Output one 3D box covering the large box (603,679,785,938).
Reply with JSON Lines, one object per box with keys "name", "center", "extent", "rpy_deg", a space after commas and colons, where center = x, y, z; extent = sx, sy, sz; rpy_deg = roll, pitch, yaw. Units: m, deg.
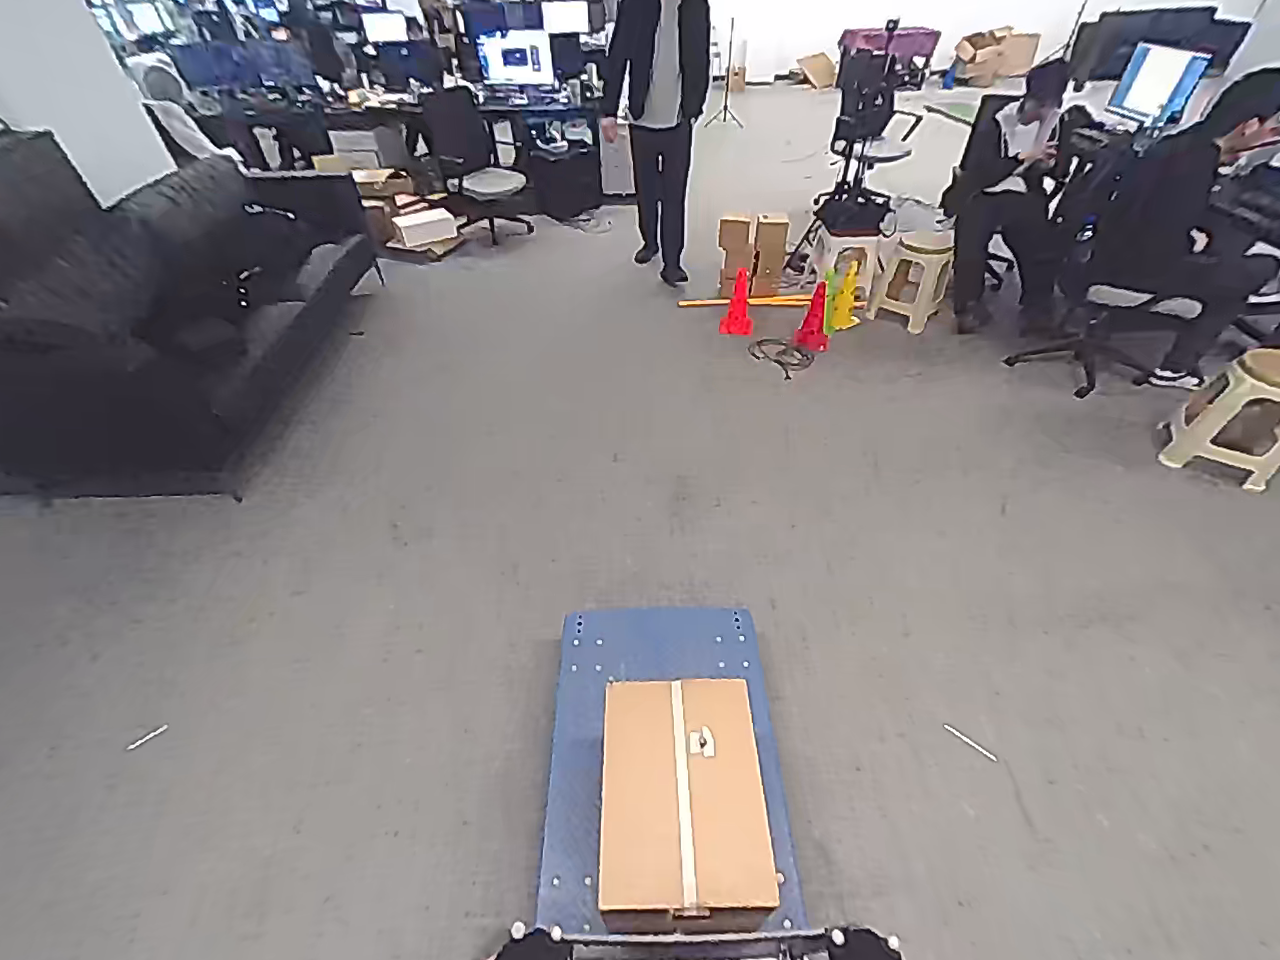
{"name": "large box", "center": [0.092, 0.689, 1.149], "extent": [0.320, 0.320, 0.408], "rpy_deg": [-1, 43, 0]}
